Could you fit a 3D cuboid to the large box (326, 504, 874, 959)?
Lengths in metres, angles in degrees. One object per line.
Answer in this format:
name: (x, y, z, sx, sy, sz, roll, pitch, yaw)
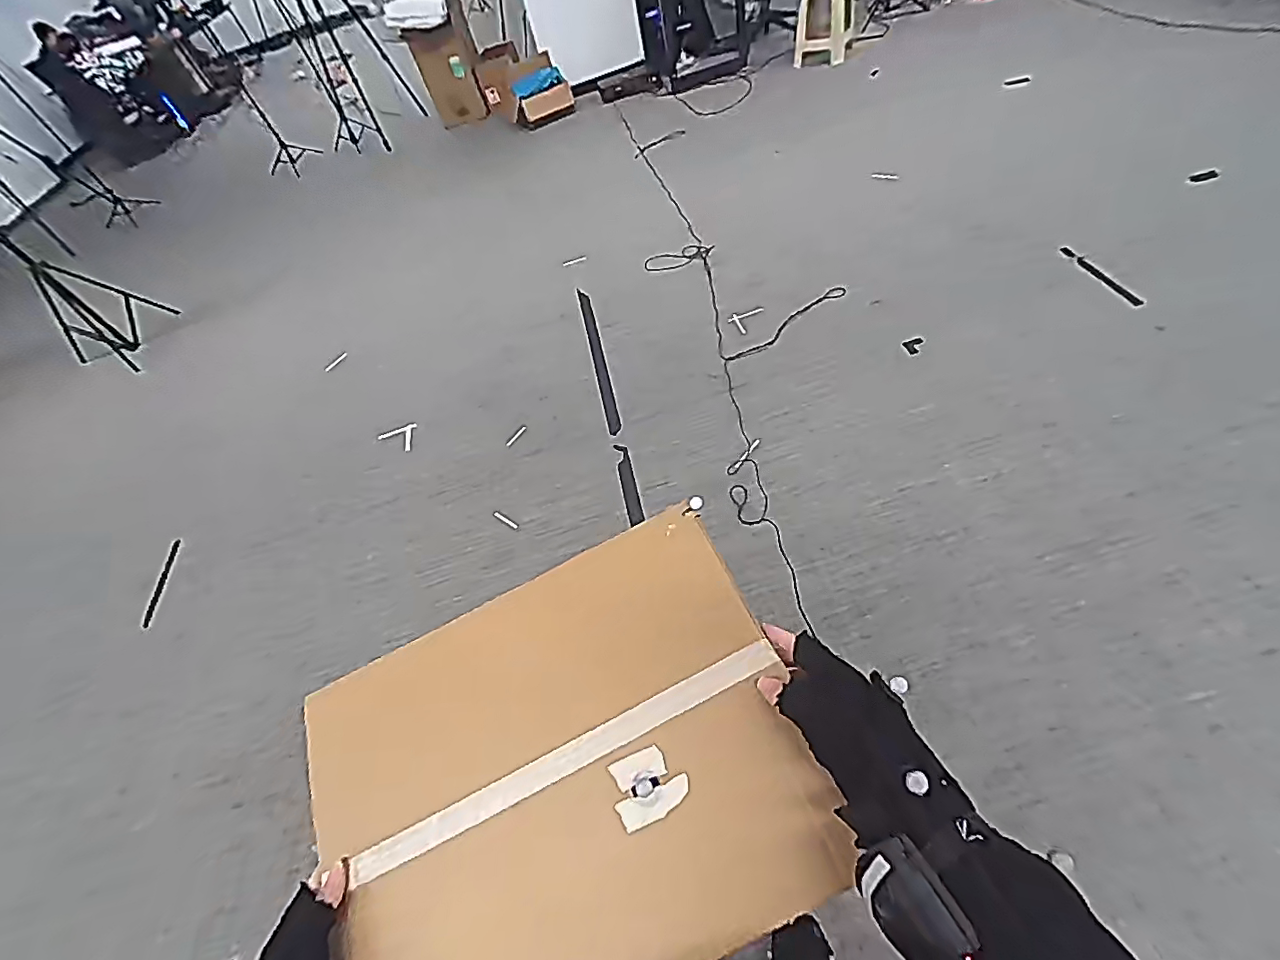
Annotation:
large box: (-0.038, 0.298, 0.582, 0.408, 0.320, 0.320, -27, 61, -3)
